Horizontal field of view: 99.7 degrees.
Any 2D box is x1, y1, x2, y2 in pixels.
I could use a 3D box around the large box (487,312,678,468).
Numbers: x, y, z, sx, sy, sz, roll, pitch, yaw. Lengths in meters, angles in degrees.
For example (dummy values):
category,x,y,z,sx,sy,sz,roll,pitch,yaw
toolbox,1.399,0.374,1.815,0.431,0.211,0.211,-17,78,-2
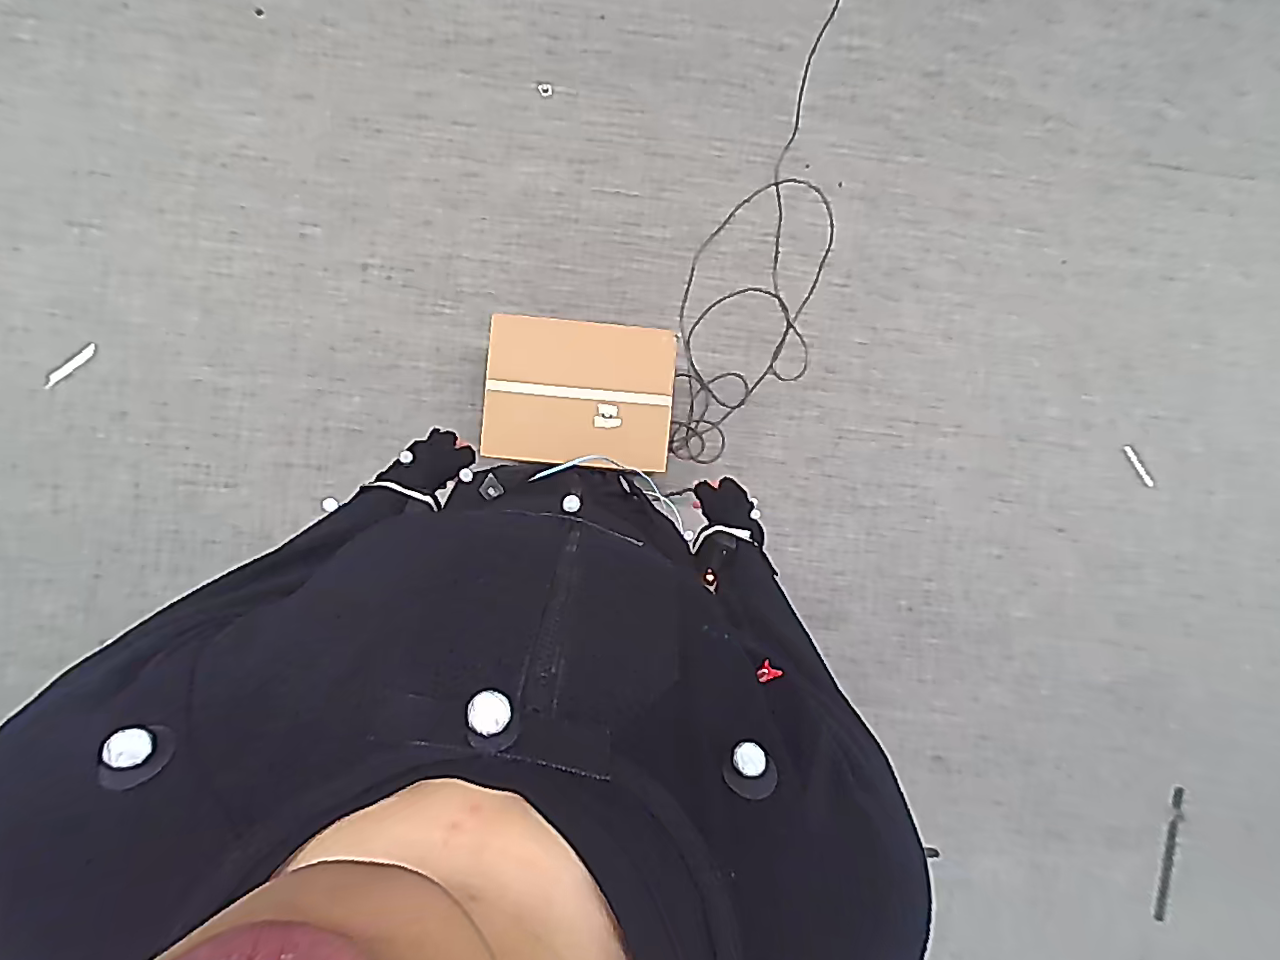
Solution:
category,x,y,z,sx,sy,sz,roll,pitch,yaw
large box,-0.134,-0.198,1.330,0.408,0.320,0.320,5,91,-3
